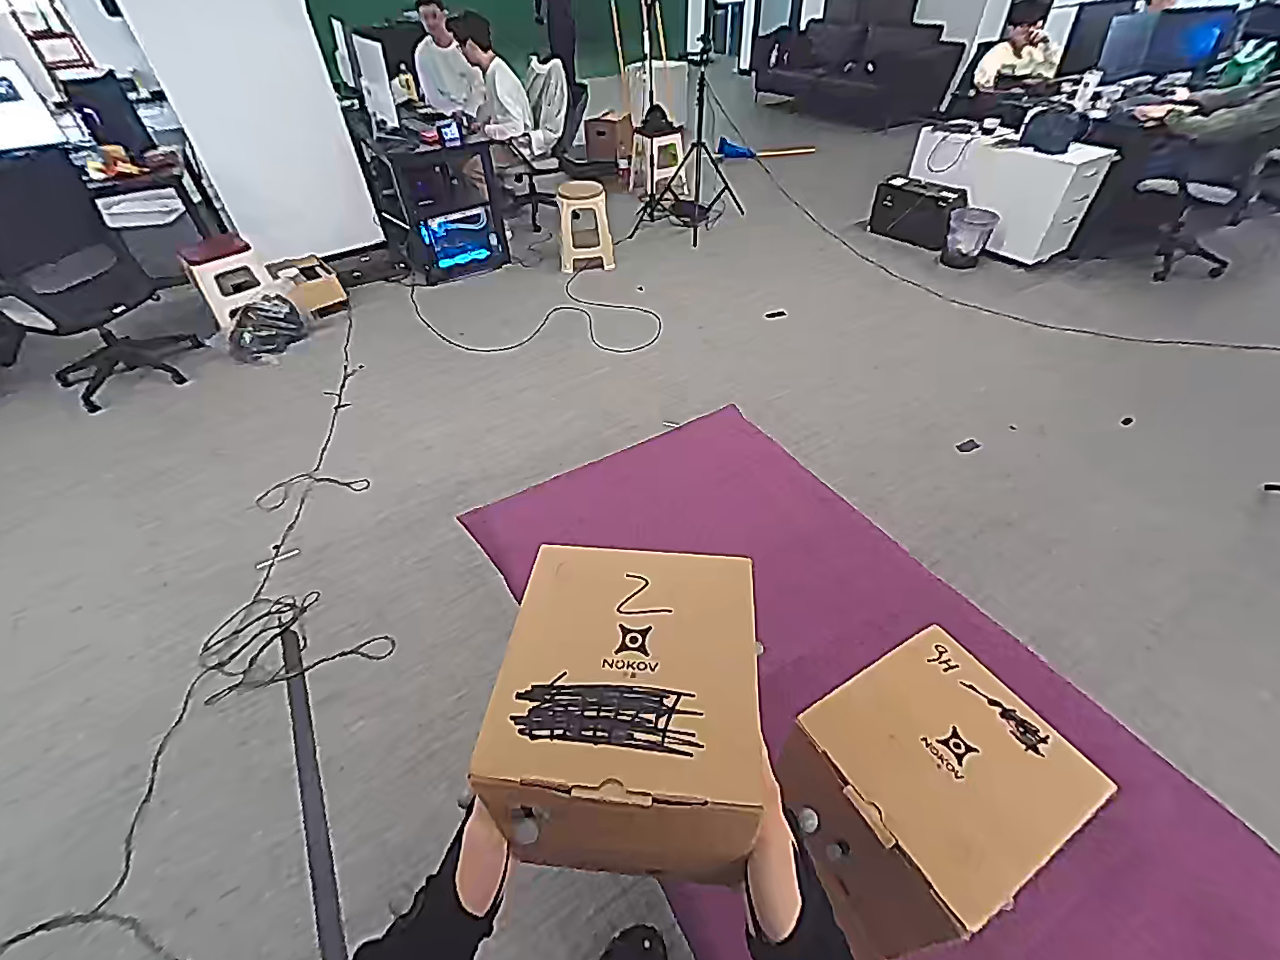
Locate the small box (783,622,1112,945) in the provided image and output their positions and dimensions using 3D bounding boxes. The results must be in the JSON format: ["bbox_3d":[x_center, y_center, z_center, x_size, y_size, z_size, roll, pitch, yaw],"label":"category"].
[{"bbox_3d":[0.247,0.269,0.484,0.179,0.176,0.168,-23,48,-20],"label":"small box"}]

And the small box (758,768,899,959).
[{"bbox_3d":[0.247,0.388,0.597,0.179,0.176,0.168,-24,48,-21],"label":"small box"}]
